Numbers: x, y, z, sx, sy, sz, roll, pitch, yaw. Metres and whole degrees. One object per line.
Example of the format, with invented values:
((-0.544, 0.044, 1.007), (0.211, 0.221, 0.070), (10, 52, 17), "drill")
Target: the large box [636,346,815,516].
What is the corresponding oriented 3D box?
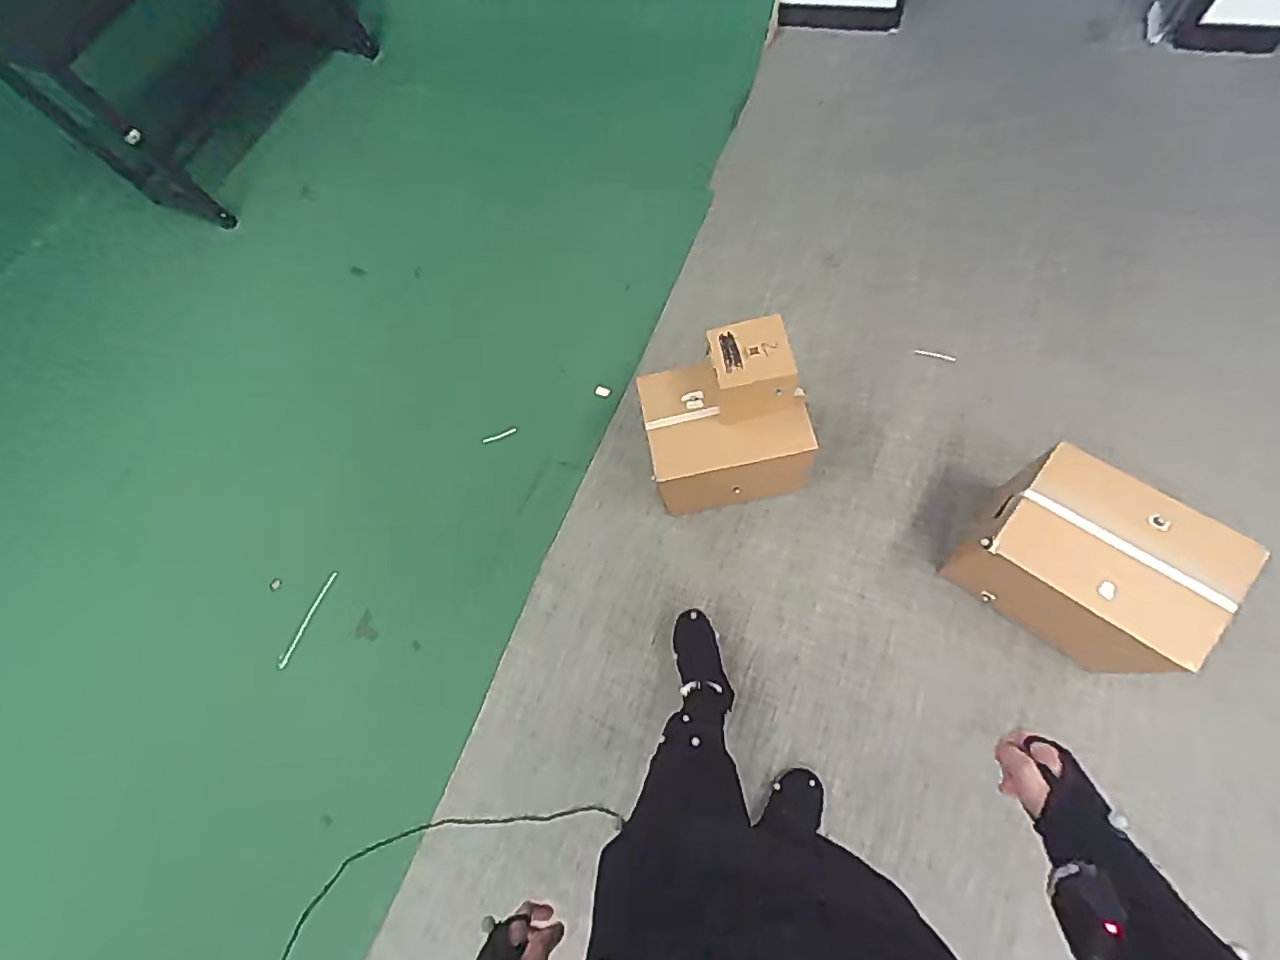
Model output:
((0.232, -0.119, 1.510), (0.408, 0.320, 0.320), (-12, 67, 6), "large box")
